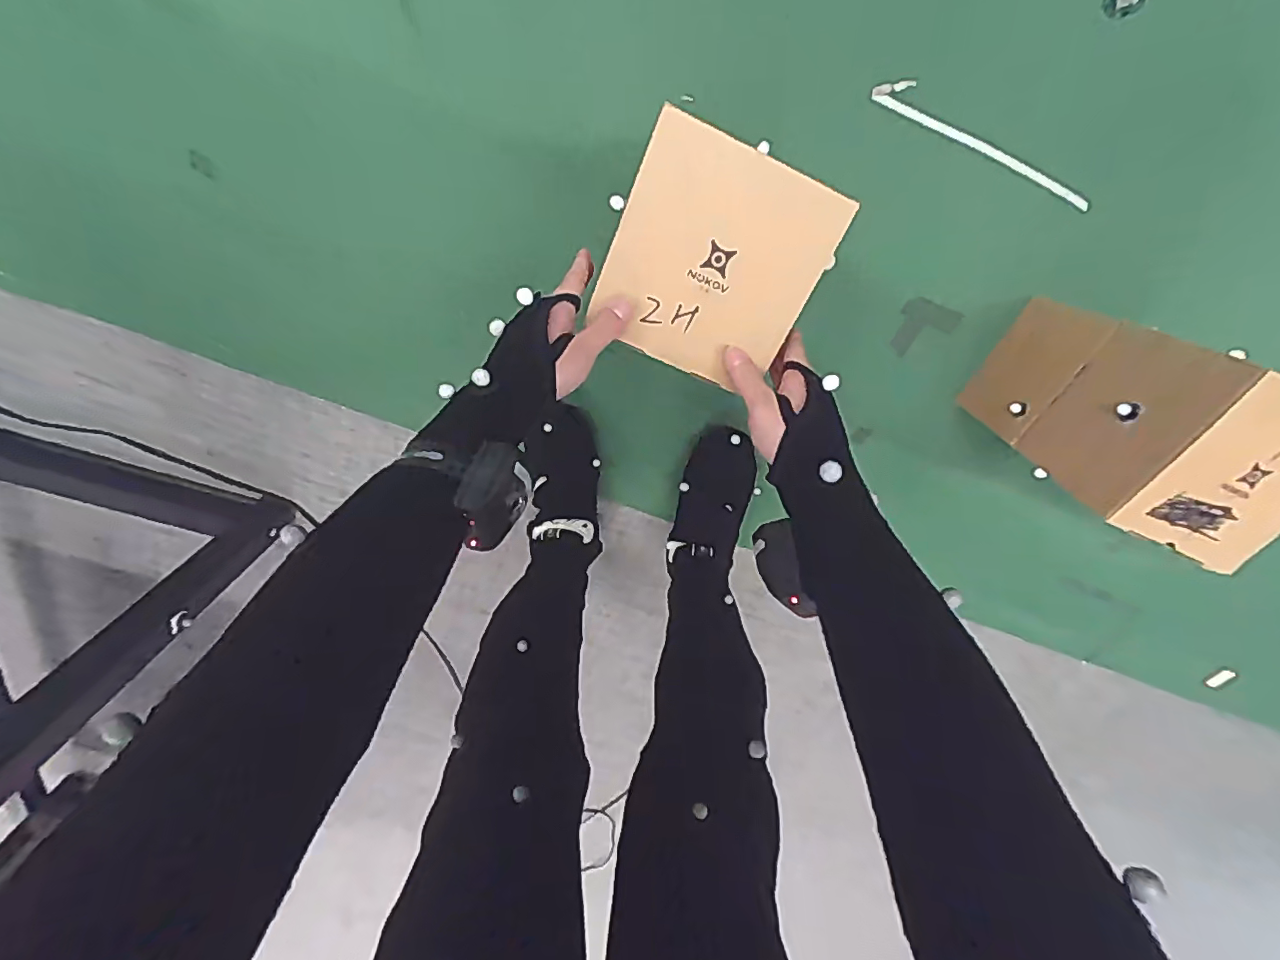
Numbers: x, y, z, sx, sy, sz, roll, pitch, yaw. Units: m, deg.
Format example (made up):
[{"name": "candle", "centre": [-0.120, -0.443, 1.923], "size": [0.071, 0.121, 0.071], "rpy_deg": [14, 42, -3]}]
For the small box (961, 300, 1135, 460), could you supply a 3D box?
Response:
[{"name": "small box", "centre": [0.578, -0.118, 0.721], "size": [0.168, 0.176, 0.179], "rpy_deg": [21, 119, -9]}]

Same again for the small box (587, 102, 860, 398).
[{"name": "small box", "centre": [0.064, -0.210, 0.505], "size": [0.168, 0.176, 0.179], "rpy_deg": [23, 118, -9]}]

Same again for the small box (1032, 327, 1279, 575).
[{"name": "small box", "centre": [0.572, -0.037, 0.578], "size": [0.168, 0.176, 0.179], "rpy_deg": [22, 118, -10]}]
